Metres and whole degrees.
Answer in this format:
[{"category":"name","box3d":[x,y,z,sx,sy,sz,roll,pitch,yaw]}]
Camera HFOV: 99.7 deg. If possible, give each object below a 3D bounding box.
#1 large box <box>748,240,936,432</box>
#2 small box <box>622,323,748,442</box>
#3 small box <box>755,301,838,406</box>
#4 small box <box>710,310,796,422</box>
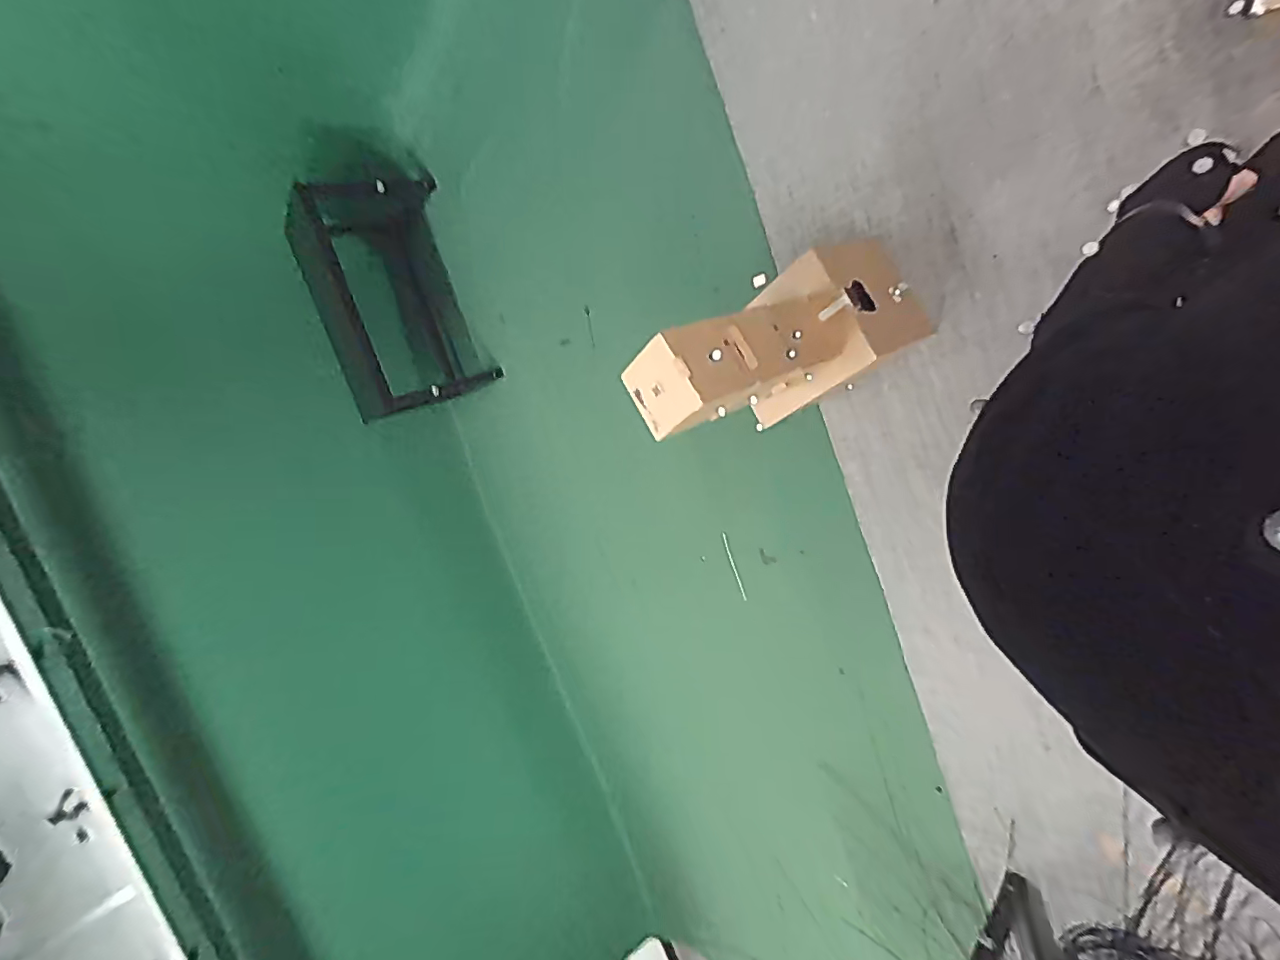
[{"category":"large box","box3d":[0.501,-0.389,1.491,0.320,0.320,0.408,63,146,6]},{"category":"small box","box3d":[0.099,-0.206,1.125,0.179,0.176,0.168,-35,81,53]},{"category":"small box","box3d":[0.345,-0.311,1.315,0.168,0.176,0.179,-35,81,54]},{"category":"small box","box3d":[0.224,-0.260,1.218,0.168,0.176,0.179,61,145,6]}]
